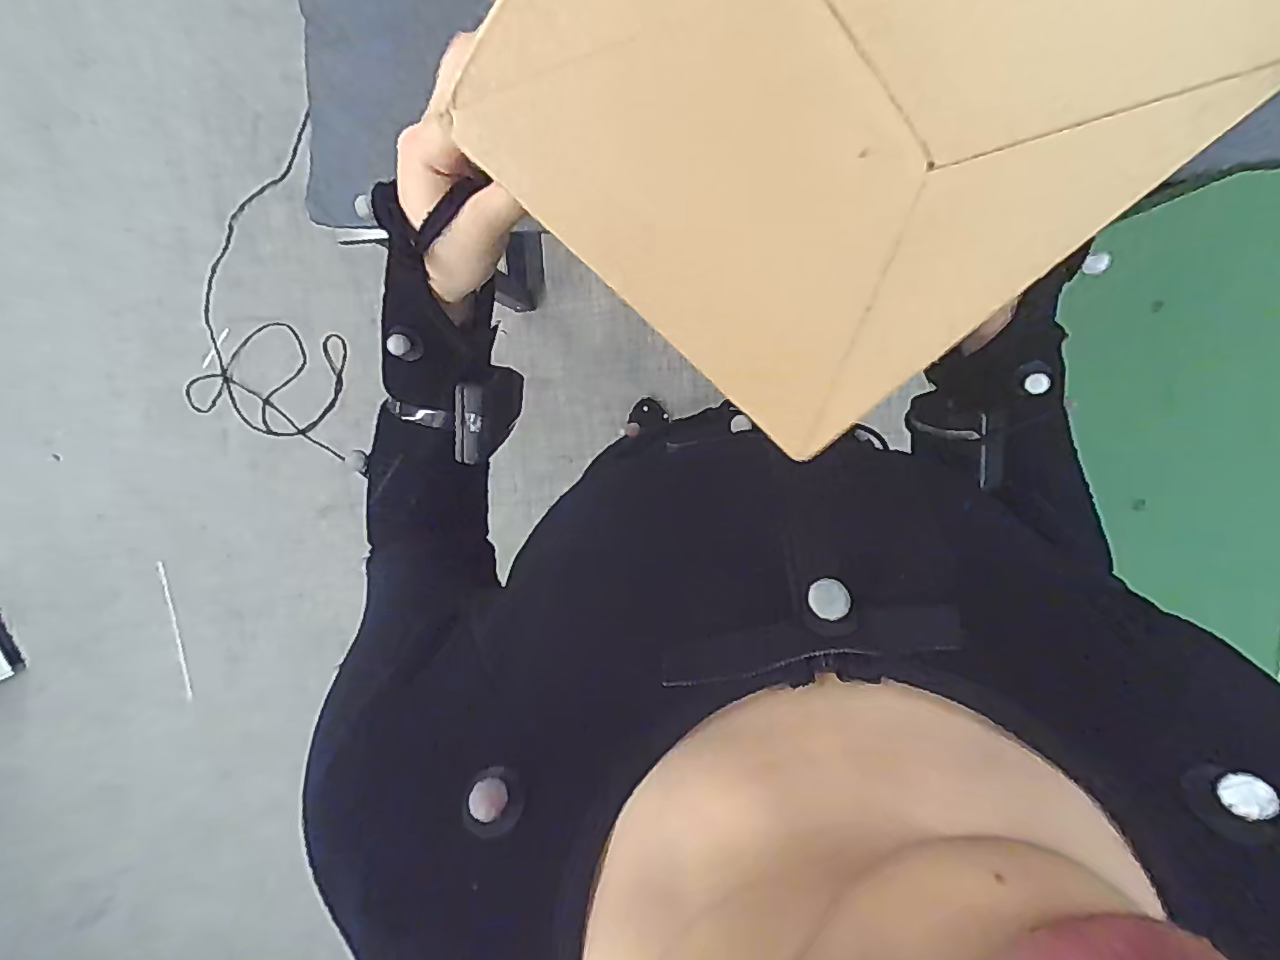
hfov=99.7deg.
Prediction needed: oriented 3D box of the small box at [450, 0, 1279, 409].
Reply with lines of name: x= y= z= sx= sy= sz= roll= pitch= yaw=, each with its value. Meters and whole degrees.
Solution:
small box: x=0.056 y=-0.151 z=0.212 sx=0.168 sy=0.176 sz=0.179 roll=39 pitch=117 yaw=-21
